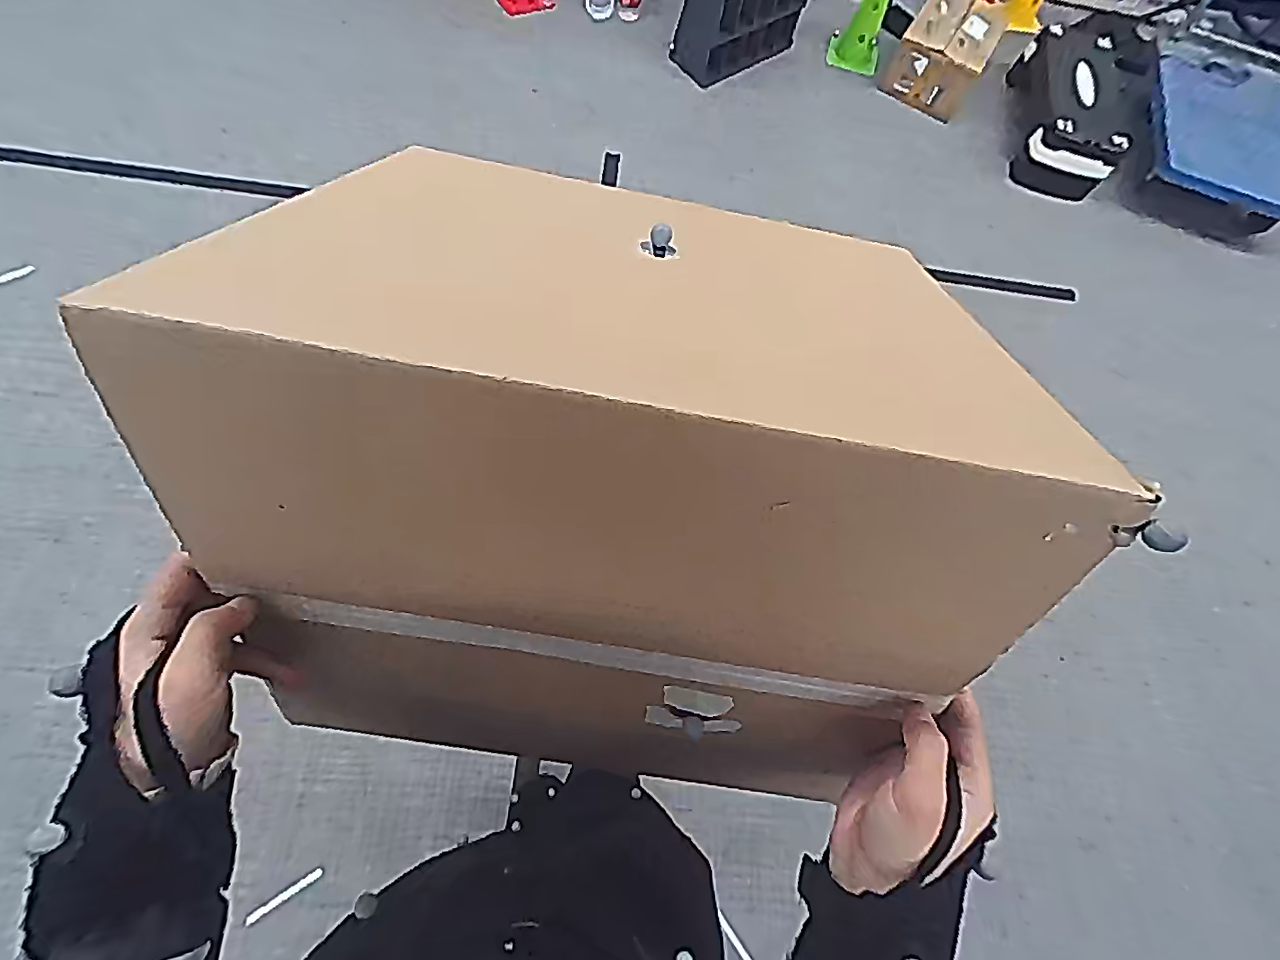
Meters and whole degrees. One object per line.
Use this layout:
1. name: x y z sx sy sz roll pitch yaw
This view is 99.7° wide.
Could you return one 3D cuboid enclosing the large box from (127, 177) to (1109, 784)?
1. large box: -0.016 -0.008 0.421 0.408 0.320 0.320 9 41 -3
